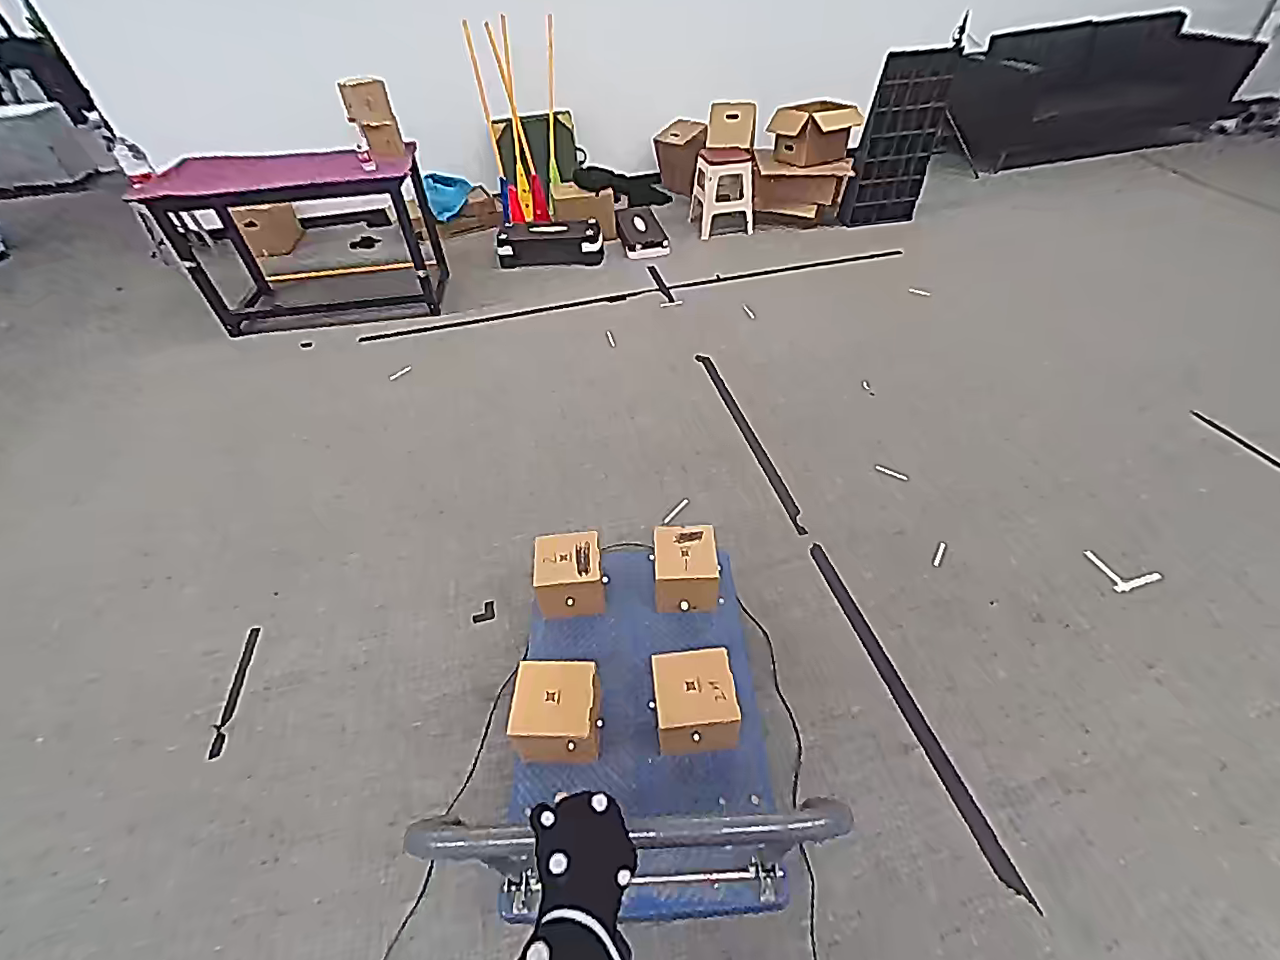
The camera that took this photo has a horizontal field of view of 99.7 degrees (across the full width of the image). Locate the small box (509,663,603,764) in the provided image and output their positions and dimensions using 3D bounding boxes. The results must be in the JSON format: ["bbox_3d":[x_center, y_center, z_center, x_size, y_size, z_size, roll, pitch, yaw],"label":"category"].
[{"bbox_3d":[-0.182,0.533,1.231,0.179,0.176,0.168,0,45,1],"label":"small box"}]

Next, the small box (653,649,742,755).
[{"bbox_3d":[0.126,0.509,1.233,0.179,0.176,0.168,-5,45,-2],"label":"small box"}]

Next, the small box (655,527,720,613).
[{"bbox_3d":[0.126,0.249,1.495,0.168,0.176,0.179,-2,46,1],"label":"small box"}]
